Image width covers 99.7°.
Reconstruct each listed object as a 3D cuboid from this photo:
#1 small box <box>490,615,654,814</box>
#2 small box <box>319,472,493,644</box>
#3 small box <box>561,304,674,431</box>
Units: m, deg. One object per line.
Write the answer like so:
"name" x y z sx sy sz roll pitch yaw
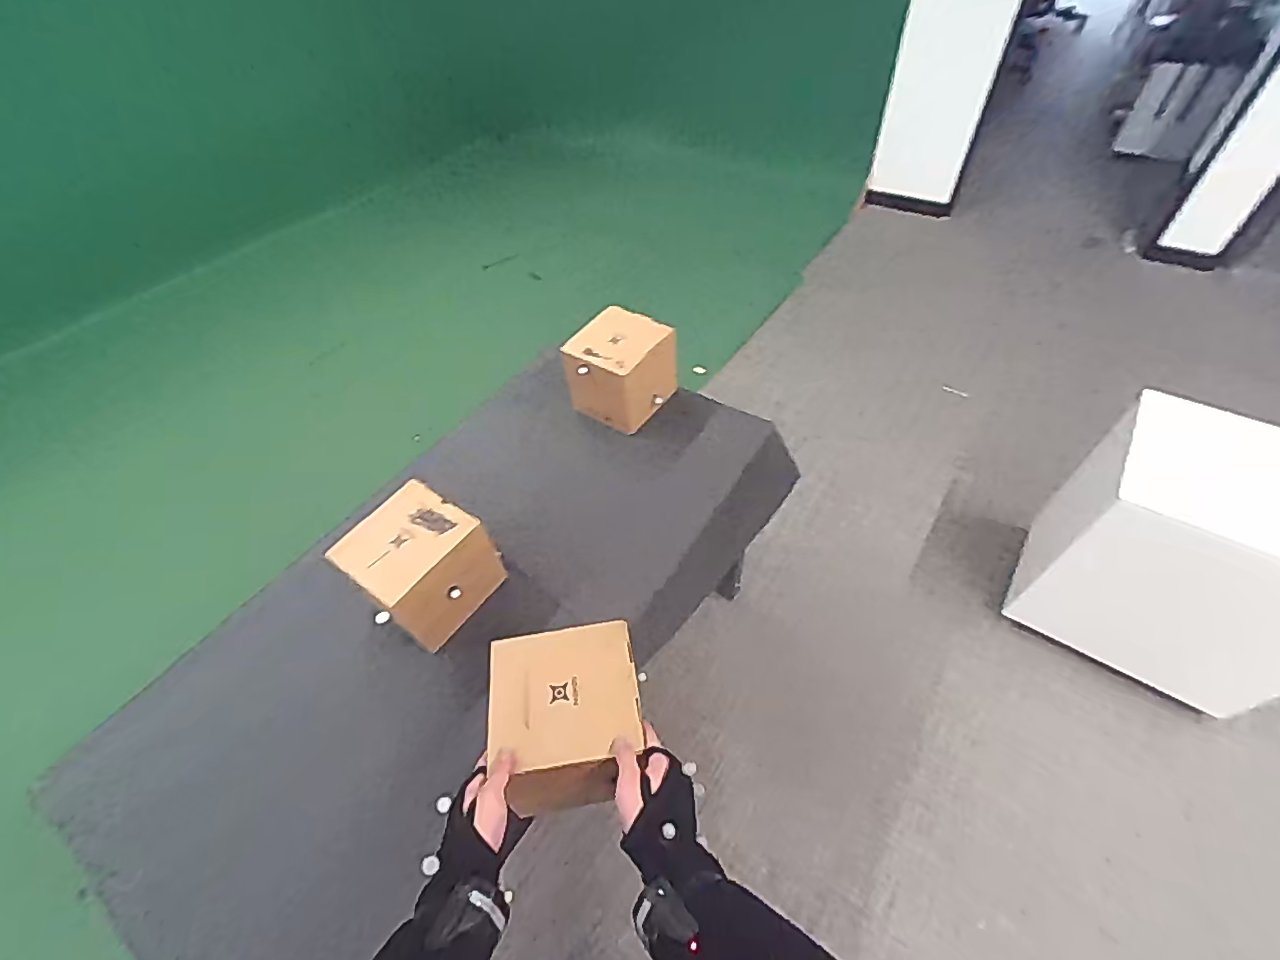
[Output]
"small box" -0.080 0.297 0.682 0.179 0.176 0.168 -9 45 -5
"small box" -0.358 0.126 0.868 0.168 0.176 0.179 28 58 24
"small box" -0.045 -0.239 1.154 0.168 0.176 0.179 28 57 24
